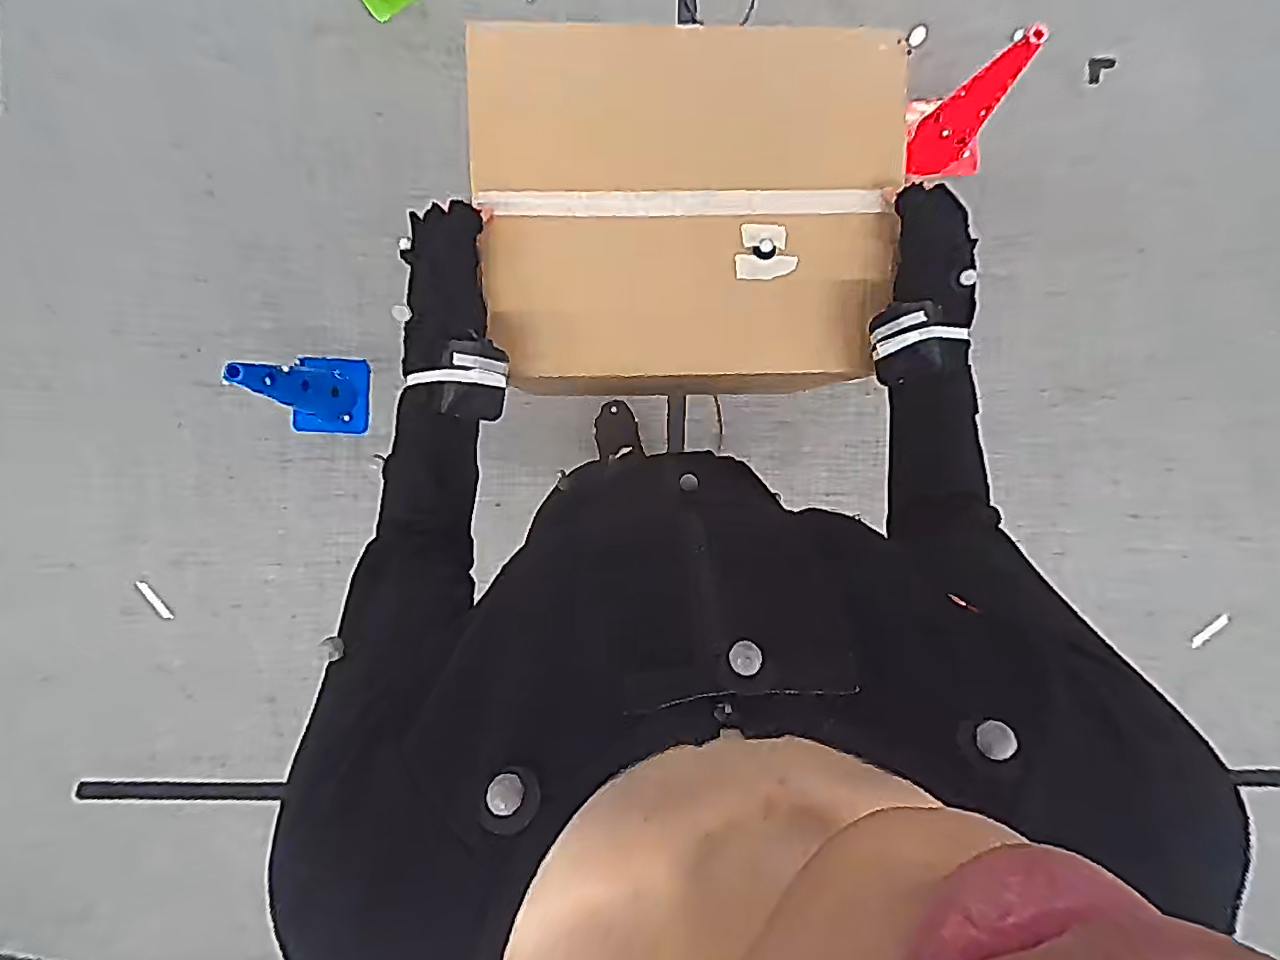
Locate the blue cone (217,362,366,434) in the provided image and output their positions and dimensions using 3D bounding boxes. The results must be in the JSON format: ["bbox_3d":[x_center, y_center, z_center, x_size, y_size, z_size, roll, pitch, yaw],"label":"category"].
[{"bbox_3d":[-0.836,-0.218,1.290,0.192,0.380,0.193,4,91,0],"label":"blue cone"}]

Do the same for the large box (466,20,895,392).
[{"bbox_3d":[0.035,-0.280,0.656,0.408,0.320,0.320,-1,95,-3],"label":"large box"}]

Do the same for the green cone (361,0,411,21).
[{"bbox_3d":[-0.670,-1.337,1.252,0.202,0.368,0.200,-37,91,2],"label":"green cone"}]

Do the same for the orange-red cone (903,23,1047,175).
[{"bbox_3d":[0.810,-0.920,1.280,0.198,0.360,0.199,-2,90,-2],"label":"orange-red cone"}]
